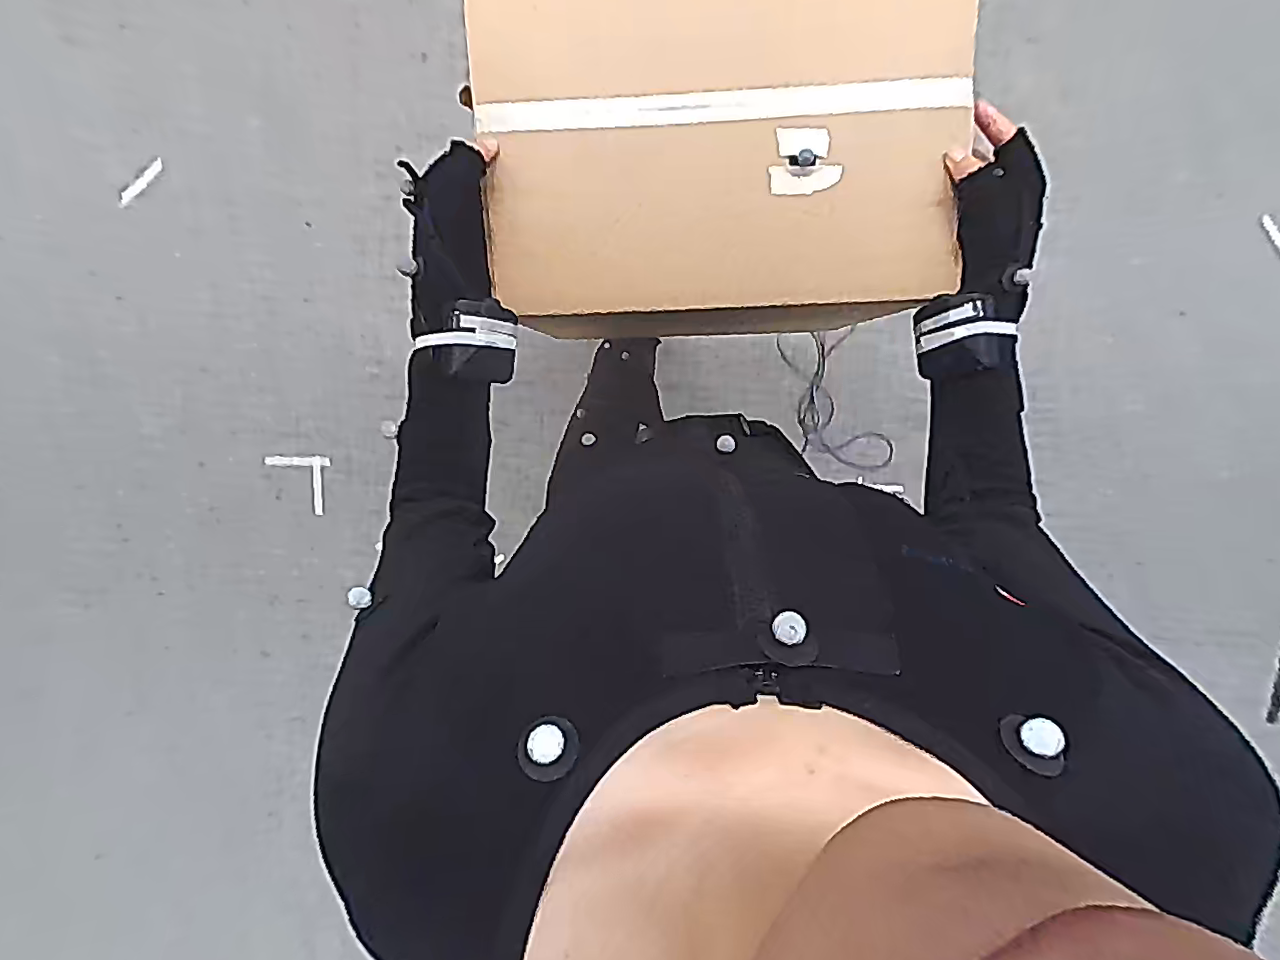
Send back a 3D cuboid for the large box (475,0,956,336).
[{"bbox_3d":[0.065,-0.343,0.608,0.408,0.320,0.320,-2,101,1],"label":"large box"}]
